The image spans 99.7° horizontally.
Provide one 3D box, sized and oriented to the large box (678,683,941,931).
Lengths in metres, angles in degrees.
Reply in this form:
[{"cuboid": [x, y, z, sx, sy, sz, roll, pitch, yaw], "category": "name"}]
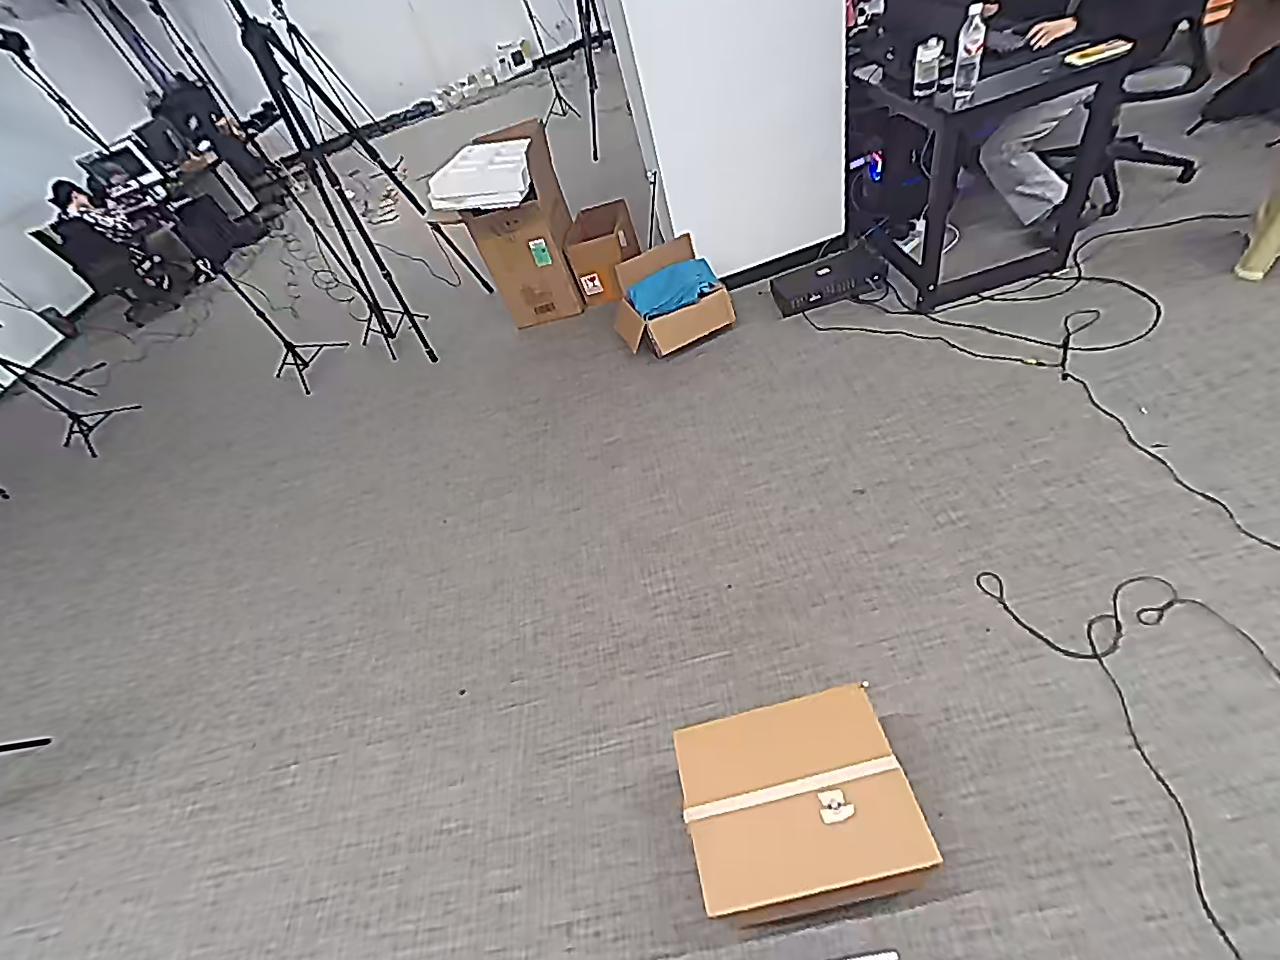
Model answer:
[{"cuboid": [0.328, 0.679, 1.116, 0.408, 0.320, 0.320, -17, 45, 5], "category": "large box"}]
